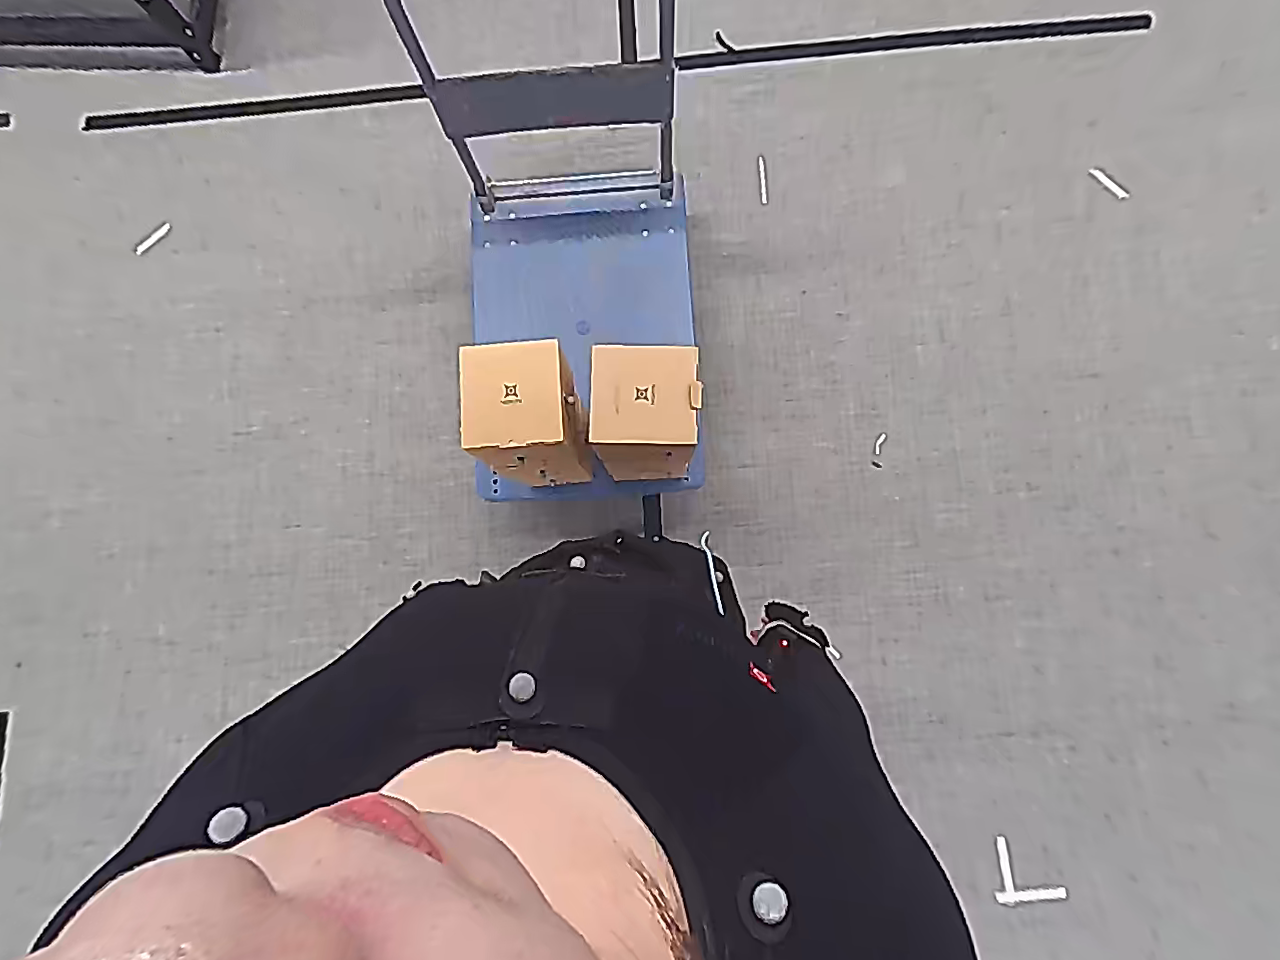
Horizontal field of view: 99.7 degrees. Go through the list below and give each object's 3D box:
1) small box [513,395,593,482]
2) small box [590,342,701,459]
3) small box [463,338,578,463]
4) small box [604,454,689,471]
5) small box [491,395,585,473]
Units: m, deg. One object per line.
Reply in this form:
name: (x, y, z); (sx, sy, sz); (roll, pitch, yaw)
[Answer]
small box: (-0.204, -0.091, 1.282); (0.168, 0.176, 0.179); (-5, 82, 0)
small box: (0.011, -0.132, 0.951); (0.179, 0.176, 0.168); (2, 82, 2)
small box: (-0.204, -0.134, 0.957); (0.168, 0.176, 0.179); (-4, 83, 1)
small box: (0.011, -0.116, 1.114); (0.168, 0.176, 0.179); (-2, 84, 2)
small box: (-0.210, -0.110, 1.119); (0.168, 0.176, 0.179); (-7, 84, 0)
